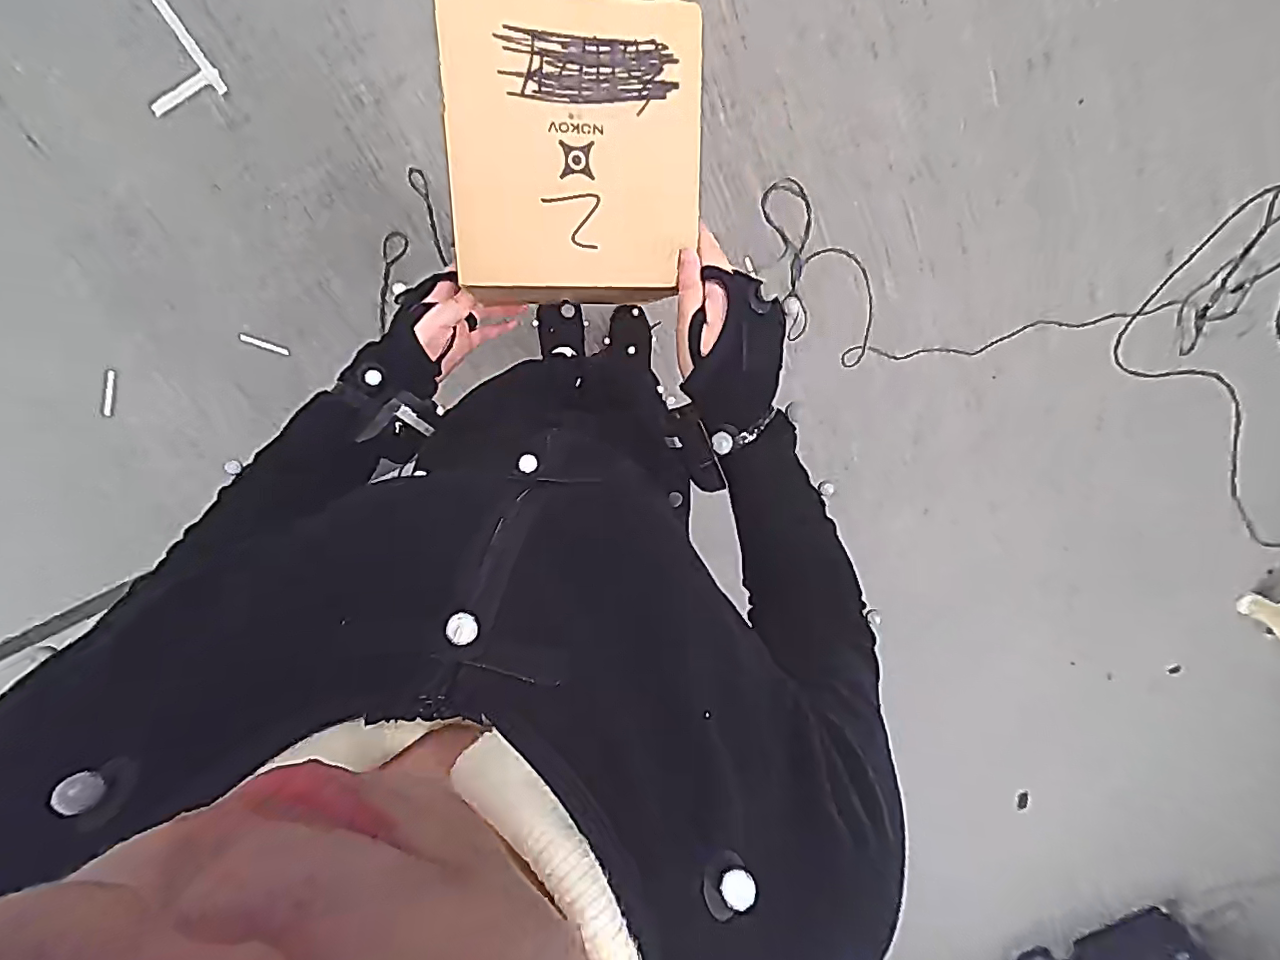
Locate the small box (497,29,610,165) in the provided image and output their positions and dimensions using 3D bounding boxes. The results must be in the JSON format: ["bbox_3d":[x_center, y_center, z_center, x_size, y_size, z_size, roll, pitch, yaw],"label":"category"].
[{"bbox_3d":[-0.170,-0.774,1.113,0.179,0.176,0.168,-20,114,2],"label":"small box"}]
